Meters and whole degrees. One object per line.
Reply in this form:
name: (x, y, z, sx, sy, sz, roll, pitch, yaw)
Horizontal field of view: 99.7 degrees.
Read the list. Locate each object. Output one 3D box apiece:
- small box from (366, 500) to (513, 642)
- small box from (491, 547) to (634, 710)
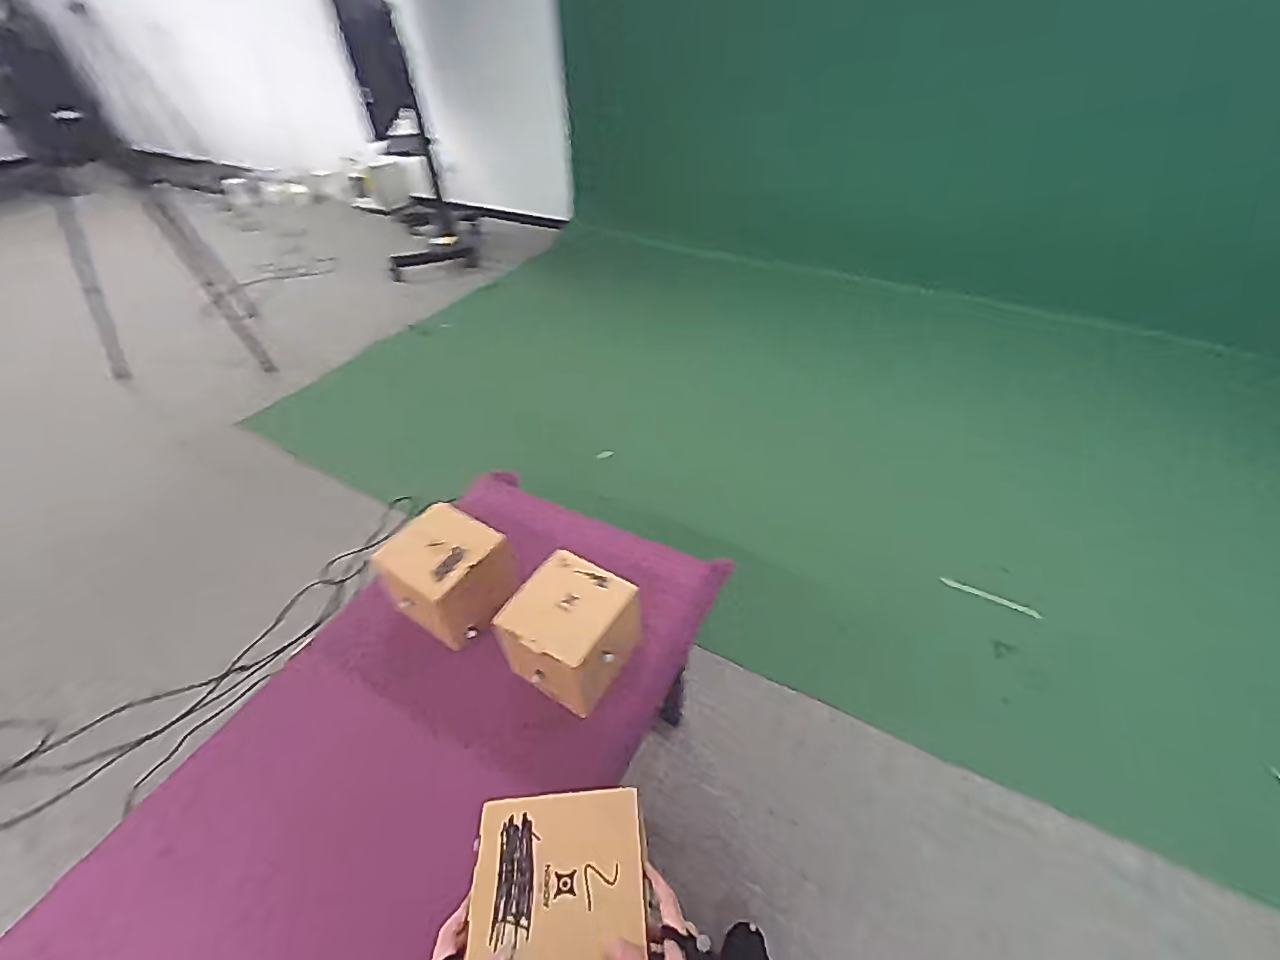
small box: (-0.363, 0.175, 1.012, 0.179, 0.176, 0.168, 24, 49, 24)
small box: (-0.119, 0.254, 0.921, 0.168, 0.176, 0.179, 22, 49, 24)
